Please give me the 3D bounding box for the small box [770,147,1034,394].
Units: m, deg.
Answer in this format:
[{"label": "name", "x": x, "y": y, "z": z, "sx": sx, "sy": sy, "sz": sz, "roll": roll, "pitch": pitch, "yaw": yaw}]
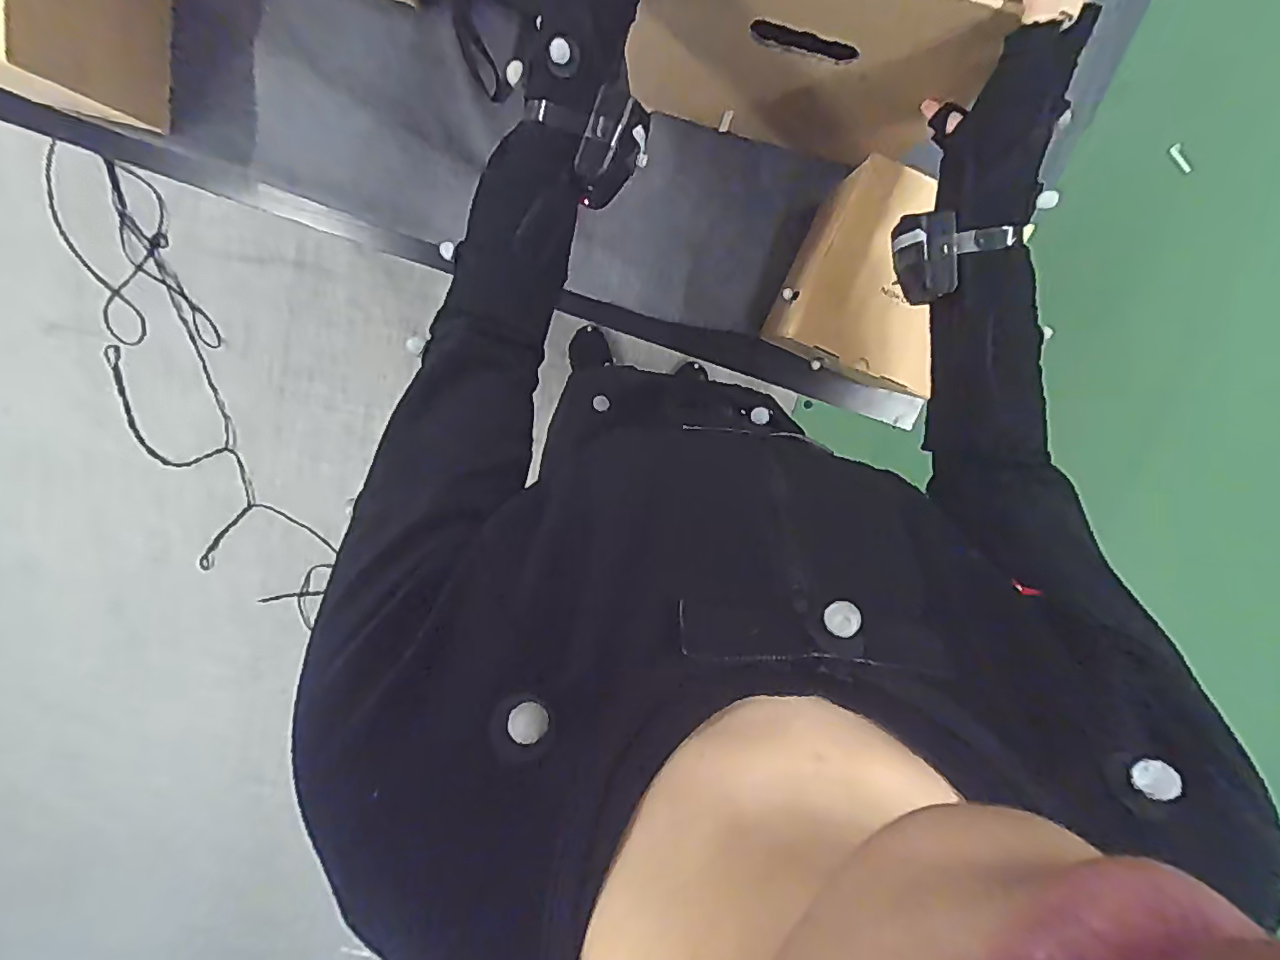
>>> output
[{"label": "small box", "x": 0.258, "y": -0.214, "z": 0.587, "sx": 0.168, "sy": 0.176, "sz": 0.179, "roll": 23, "pitch": 107, "yaw": -3}]
